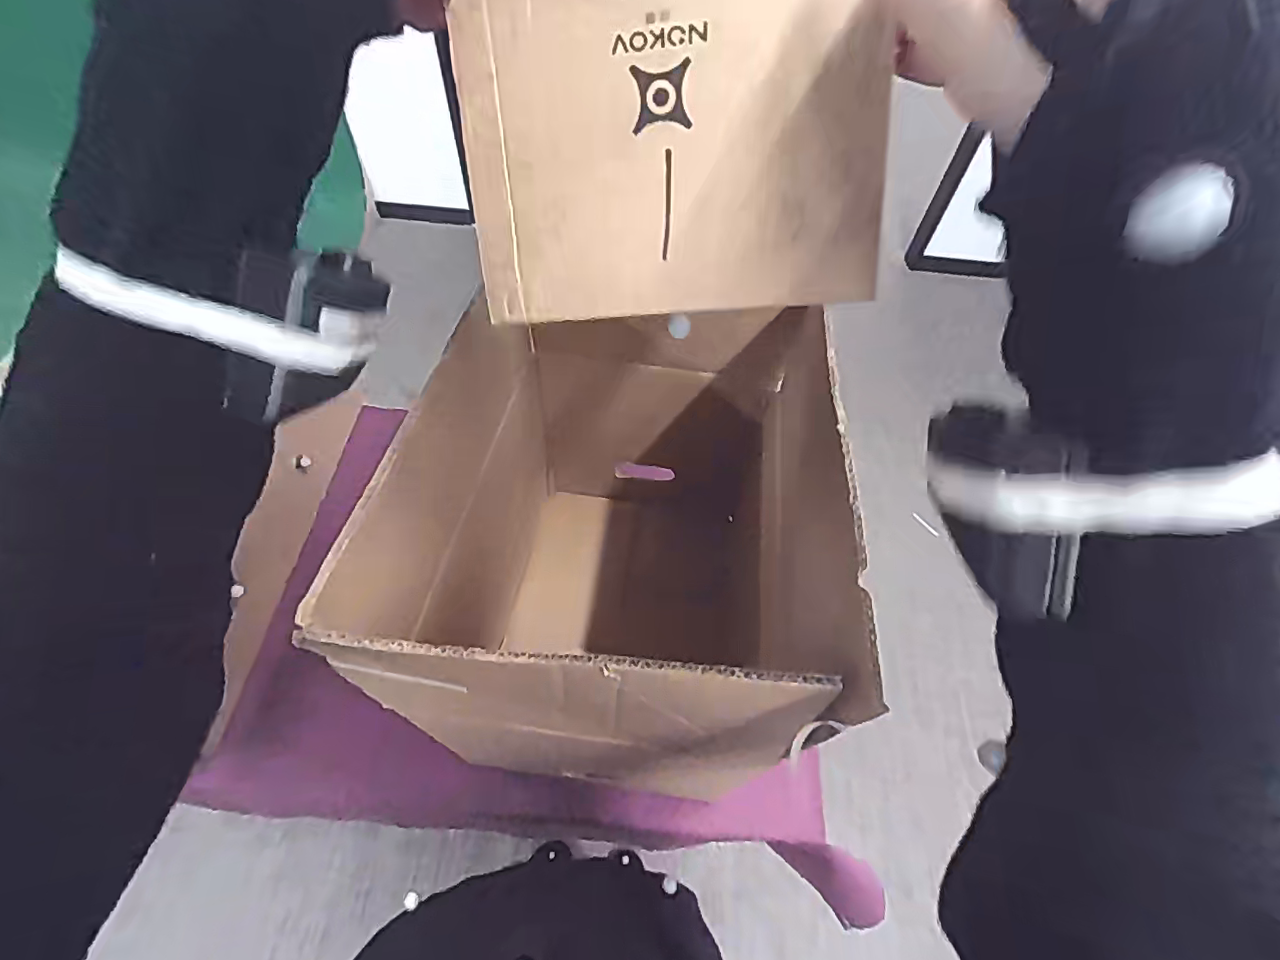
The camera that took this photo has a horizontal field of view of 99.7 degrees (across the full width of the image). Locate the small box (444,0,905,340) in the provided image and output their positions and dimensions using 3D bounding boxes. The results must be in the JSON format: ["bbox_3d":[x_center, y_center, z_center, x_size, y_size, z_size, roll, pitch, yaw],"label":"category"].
[{"bbox_3d":[0.021,-0.171,0.275,0.168,0.179,0.176,-1,20,10],"label":"small box"}]
